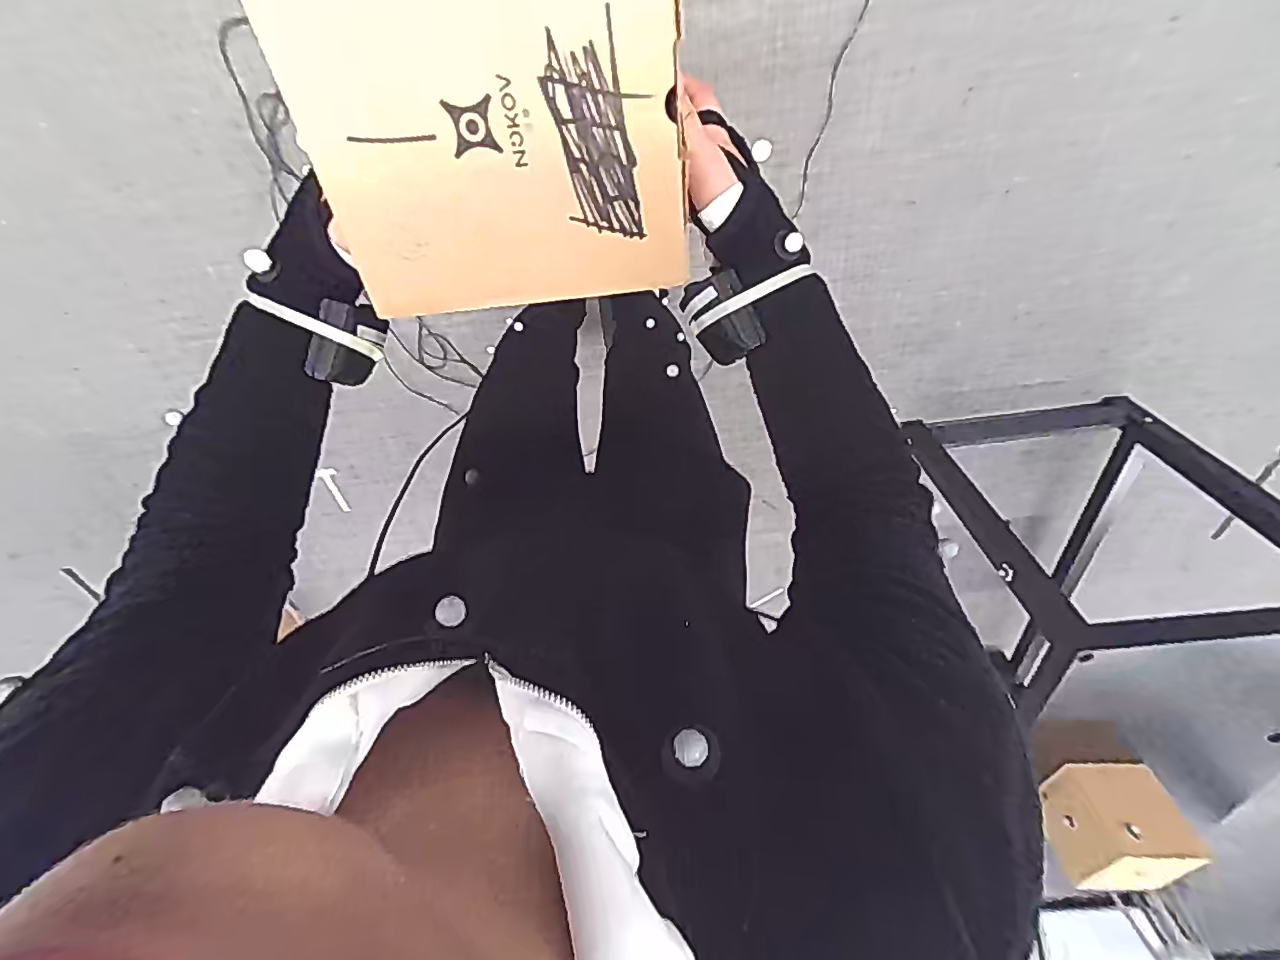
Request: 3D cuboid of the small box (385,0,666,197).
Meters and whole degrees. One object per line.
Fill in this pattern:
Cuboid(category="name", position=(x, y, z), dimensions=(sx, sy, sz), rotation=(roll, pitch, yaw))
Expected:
Cuboid(category="small box", position=(-0.073, -0.327, 0.416), dimensions=(0.179, 0.176, 0.168), rotation=(-1, 131, -2))

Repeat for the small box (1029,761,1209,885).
Cuboid(category="small box", position=(0.941, 0.685, 1.088), dimensions=(0.179, 0.176, 0.168), rotation=(2, 127, -4))
